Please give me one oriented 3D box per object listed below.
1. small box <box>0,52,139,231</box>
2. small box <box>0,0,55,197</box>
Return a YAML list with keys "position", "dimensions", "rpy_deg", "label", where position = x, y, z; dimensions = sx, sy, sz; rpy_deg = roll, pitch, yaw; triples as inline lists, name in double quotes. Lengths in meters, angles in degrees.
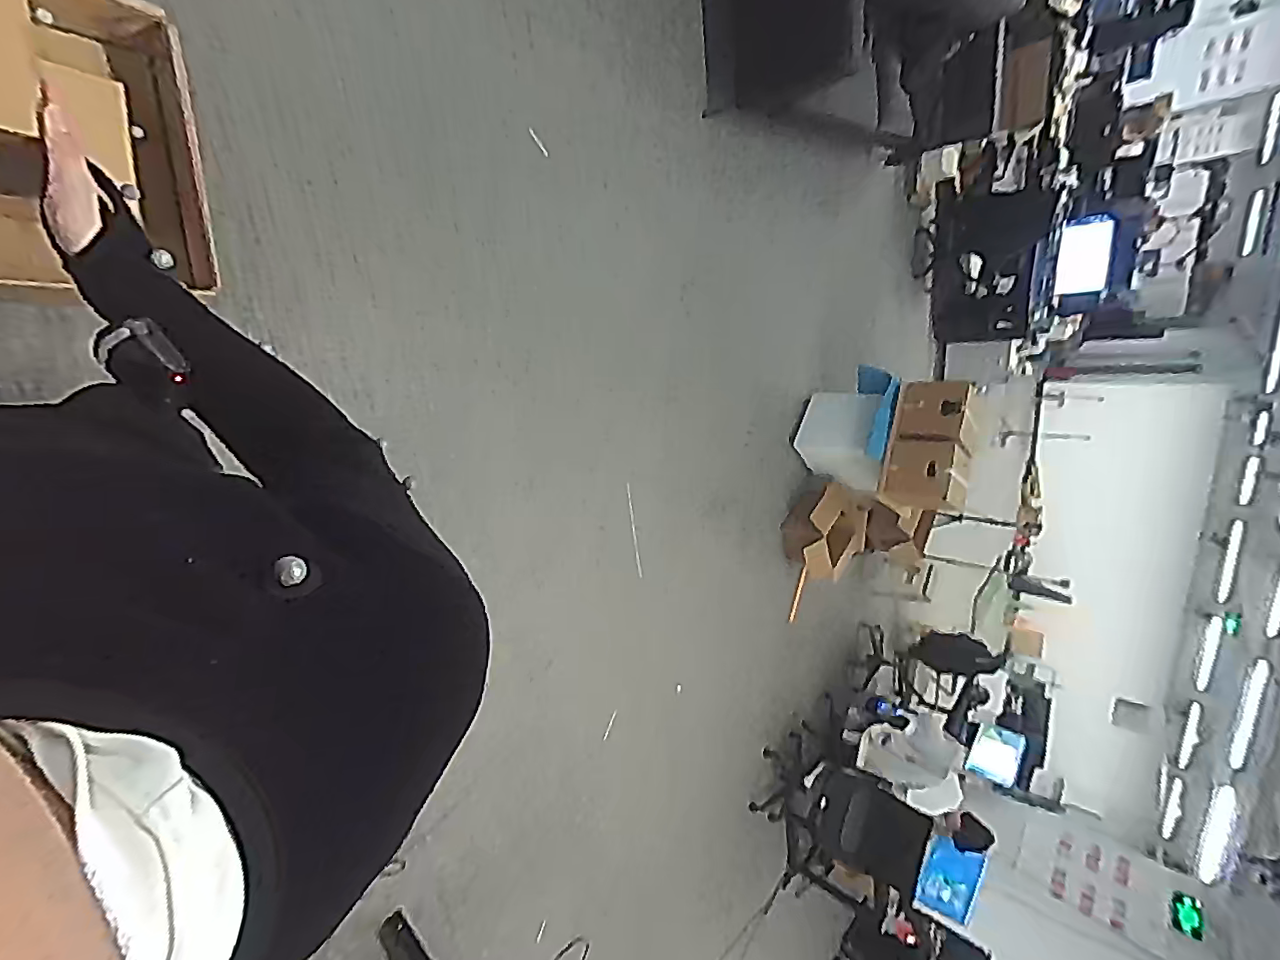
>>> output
- position: [-0.817, -0.464, 0.743]
  dimensions: [0.168, 0.176, 0.179]
  rpy_deg: [-8, 104, -46]
  label: "small box"
- position: [-0.565, -0.342, 0.397]
  dimensions: [0.168, 0.176, 0.179]
  rpy_deg: [-9, 100, -47]
  label: "small box"
